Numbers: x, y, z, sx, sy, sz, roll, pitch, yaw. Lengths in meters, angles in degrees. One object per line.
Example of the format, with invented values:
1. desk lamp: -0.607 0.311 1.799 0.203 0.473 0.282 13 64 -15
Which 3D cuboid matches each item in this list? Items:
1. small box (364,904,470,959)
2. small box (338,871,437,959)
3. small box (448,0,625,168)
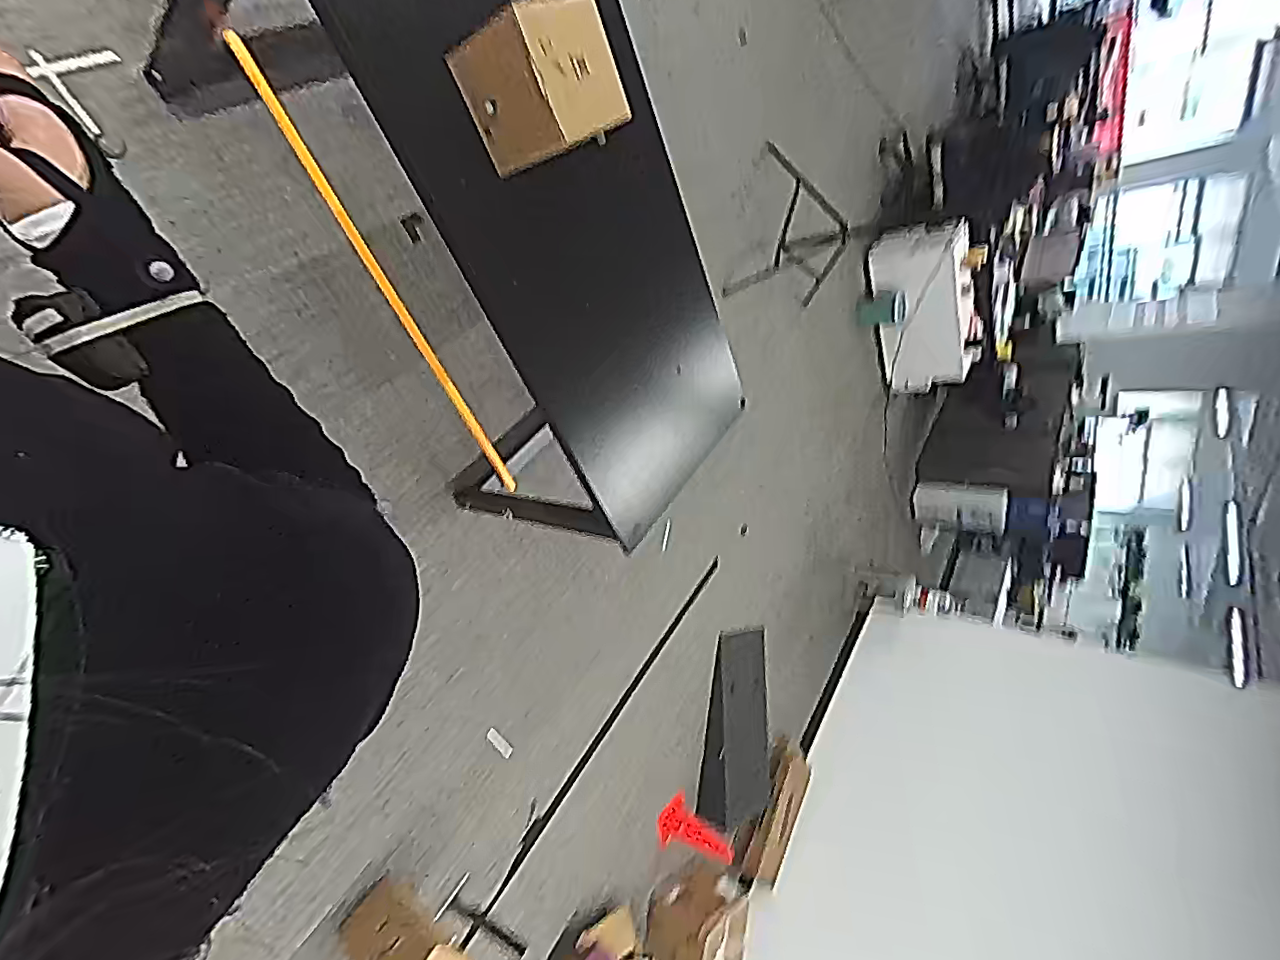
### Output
1. small box: -0.603 1.299 1.460 0.168 0.176 0.179 -51 128 -33
2. small box: -0.728 1.287 1.564 0.179 0.176 0.168 -45 126 -34
3. small box: -0.158 -0.617 0.843 0.179 0.176 0.168 -48 128 -34
